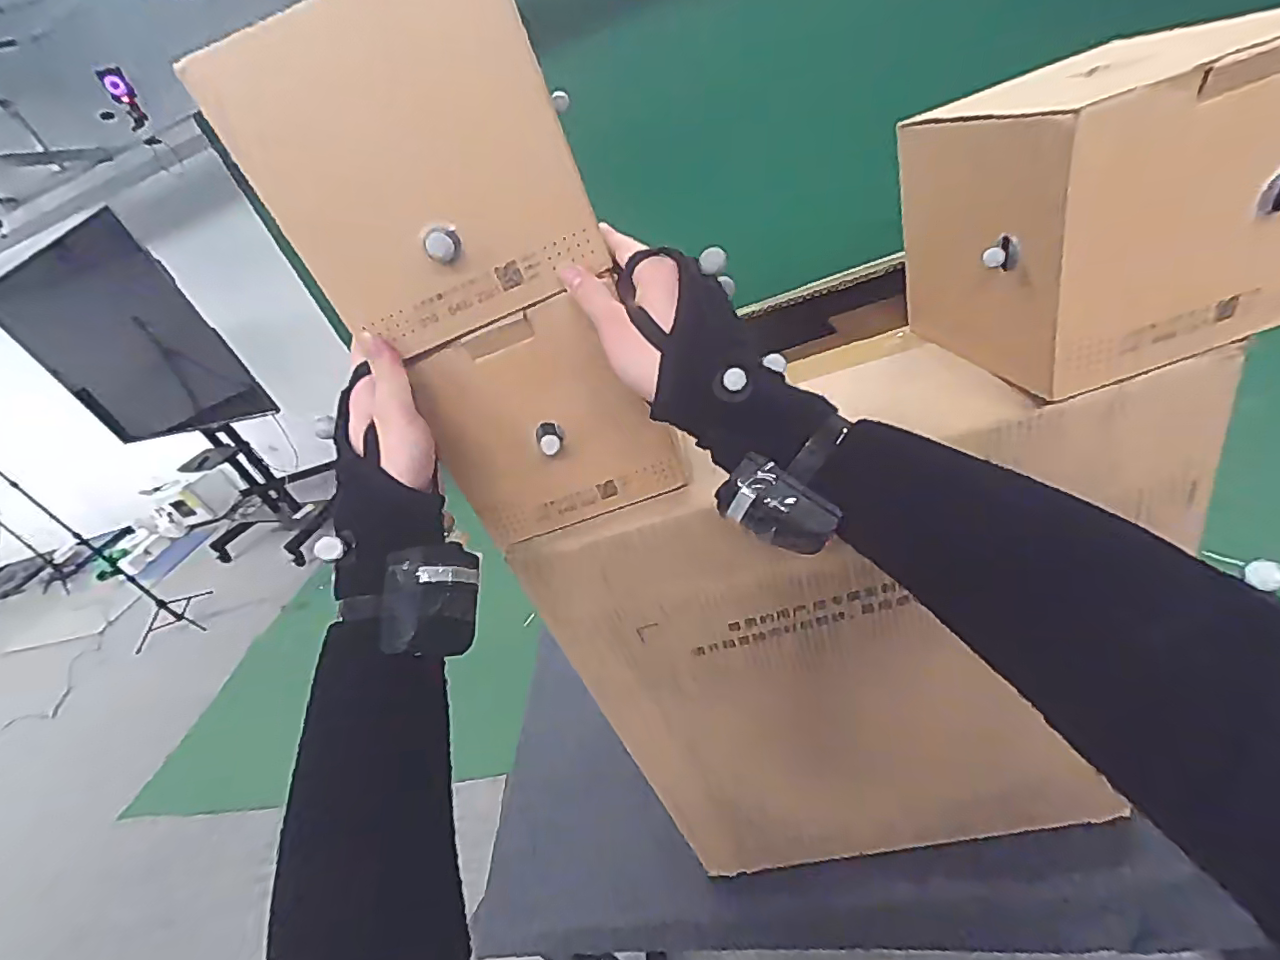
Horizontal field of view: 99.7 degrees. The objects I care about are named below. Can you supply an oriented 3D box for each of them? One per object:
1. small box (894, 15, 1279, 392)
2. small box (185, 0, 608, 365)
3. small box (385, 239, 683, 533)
[{"bbox_3d":[0.301,-0.177,0.371,0.168,0.176,0.179,-18,30,4],"label":"small box"},{"bbox_3d":[-0.133,-0.201,0.371,0.168,0.176,0.179,-22,32,3],"label":"small box"},{"bbox_3d":[-0.071,-0.075,0.457,0.168,0.176,0.179,-19,32,8],"label":"small box"}]
